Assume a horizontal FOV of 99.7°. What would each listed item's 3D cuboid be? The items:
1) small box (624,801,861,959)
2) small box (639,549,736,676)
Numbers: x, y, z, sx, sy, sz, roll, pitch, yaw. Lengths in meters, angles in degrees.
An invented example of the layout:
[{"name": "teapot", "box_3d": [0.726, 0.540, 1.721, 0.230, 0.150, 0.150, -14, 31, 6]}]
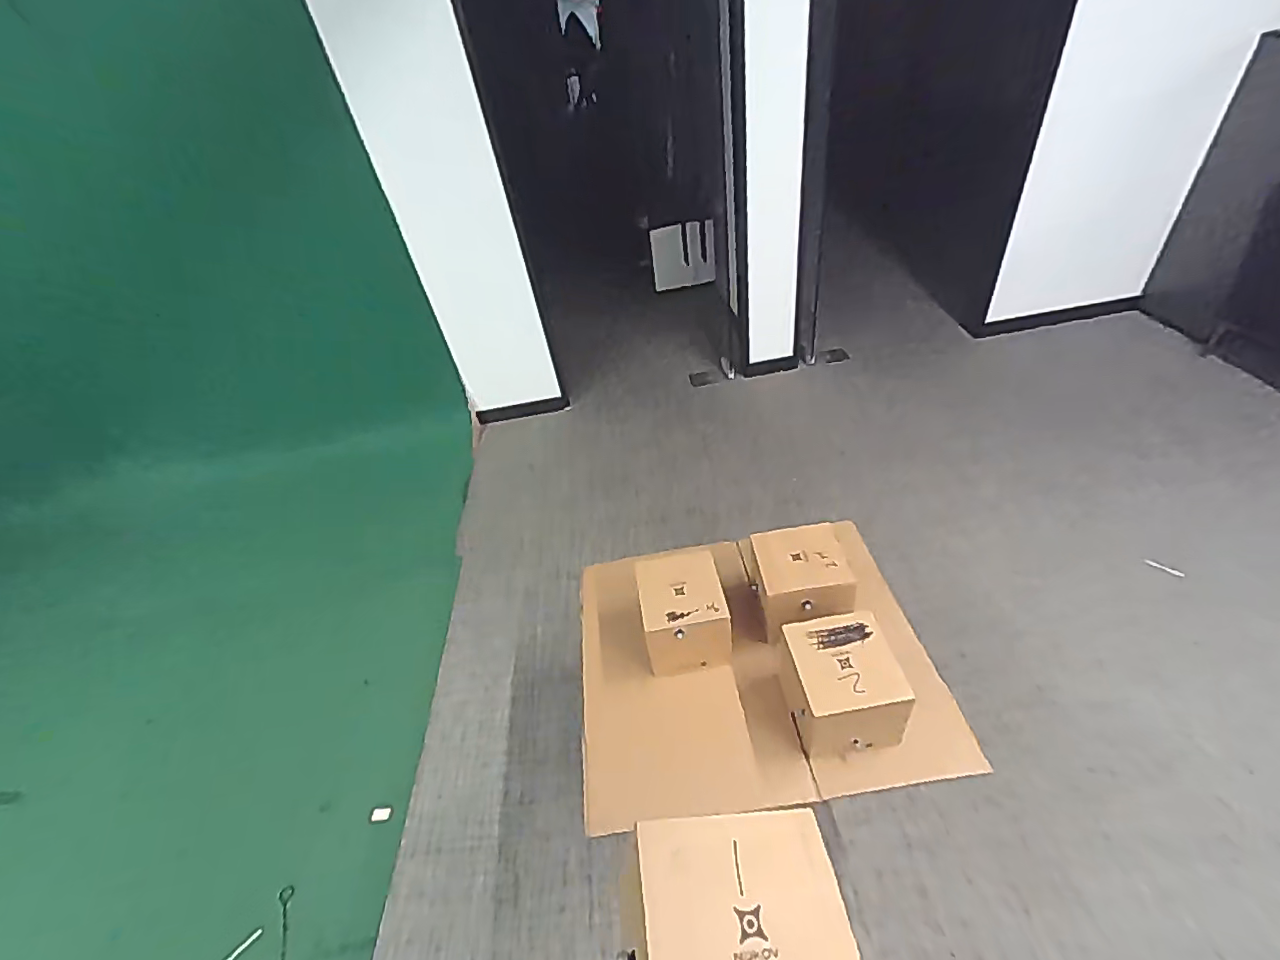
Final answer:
[{"name": "small box", "box_3d": [0.078, 0.410, 0.467, 0.168, 0.176, 0.179, 1, 37, -8]}, {"name": "small box", "box_3d": [0.097, 0.276, 1.127, 0.168, 0.176, 0.179, -12, 39, 2]}]
